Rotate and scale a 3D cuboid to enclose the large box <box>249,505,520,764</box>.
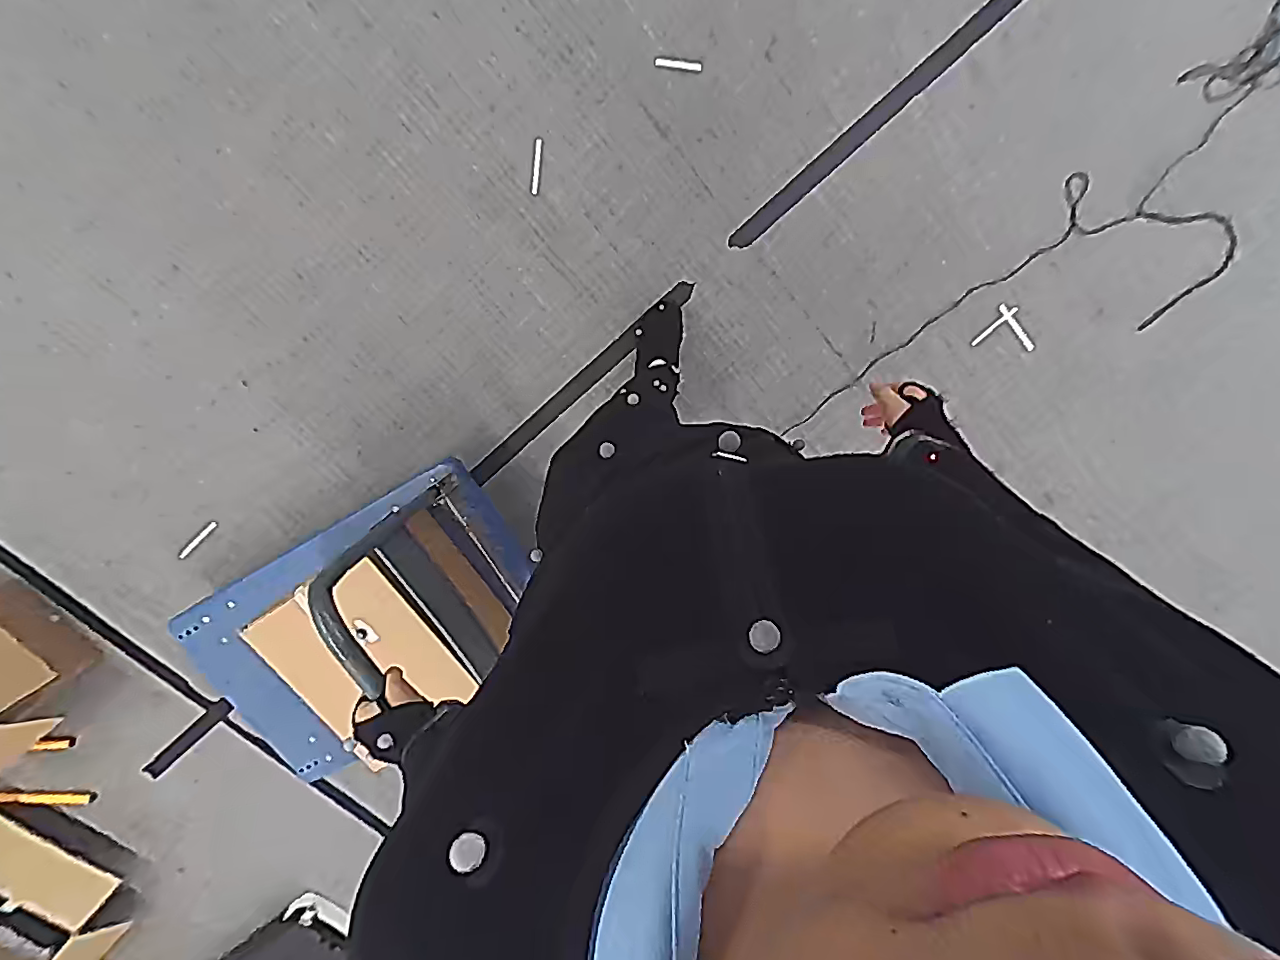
[{"bbox_3d":[-0.537,0.331,1.228,0.320,0.320,0.408,-33,102,6],"label":"large box"}]
